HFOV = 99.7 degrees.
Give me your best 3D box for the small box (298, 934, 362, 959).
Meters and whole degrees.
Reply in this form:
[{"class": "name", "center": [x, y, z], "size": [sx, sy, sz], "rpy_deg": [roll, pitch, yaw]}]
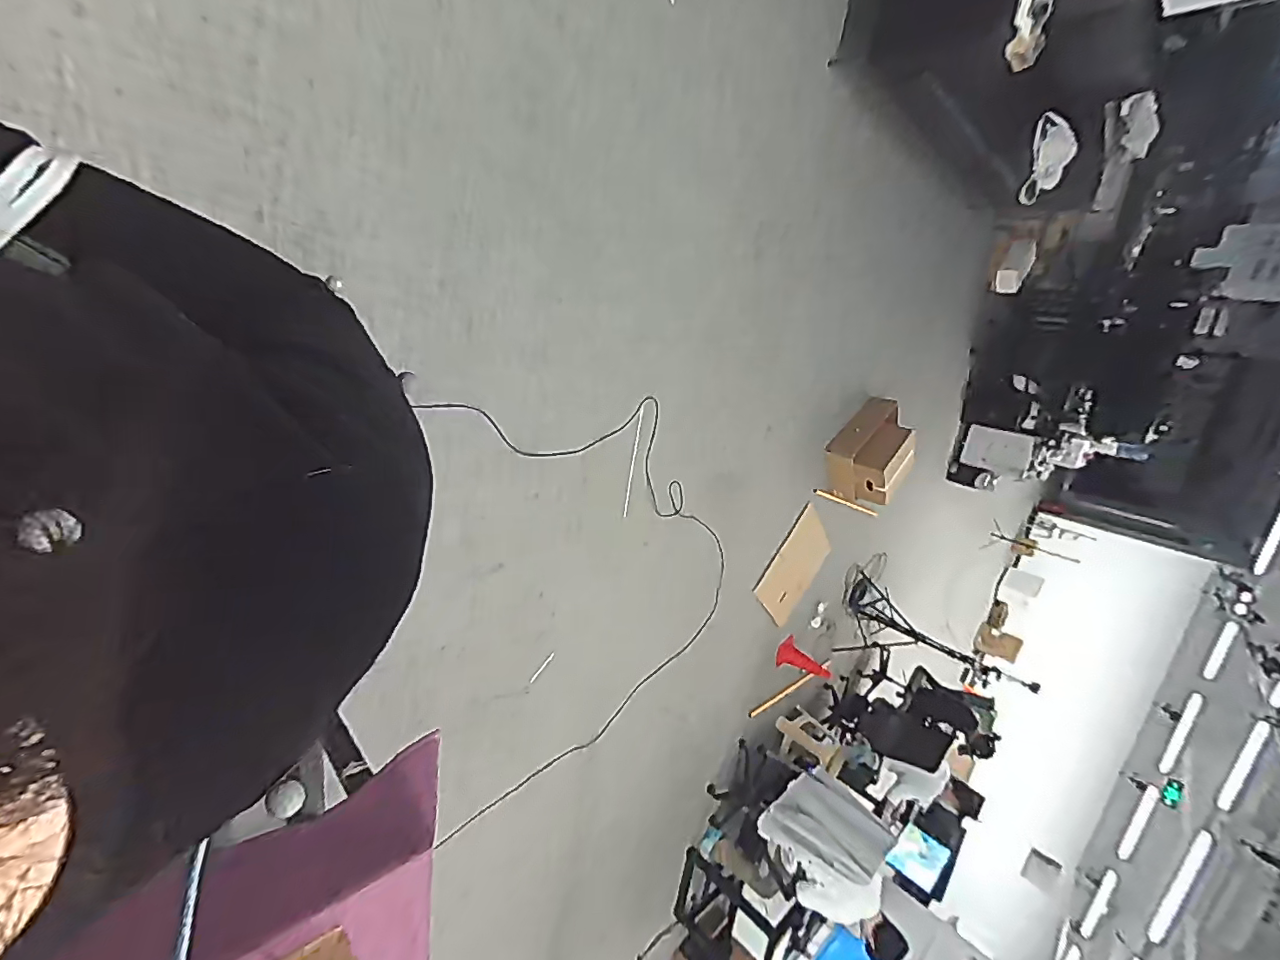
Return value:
[{"class": "small box", "center": [-0.529, 0.907, 0.873], "size": [0.168, 0.176, 0.179], "rpy_deg": [-6, 110, -44]}]
